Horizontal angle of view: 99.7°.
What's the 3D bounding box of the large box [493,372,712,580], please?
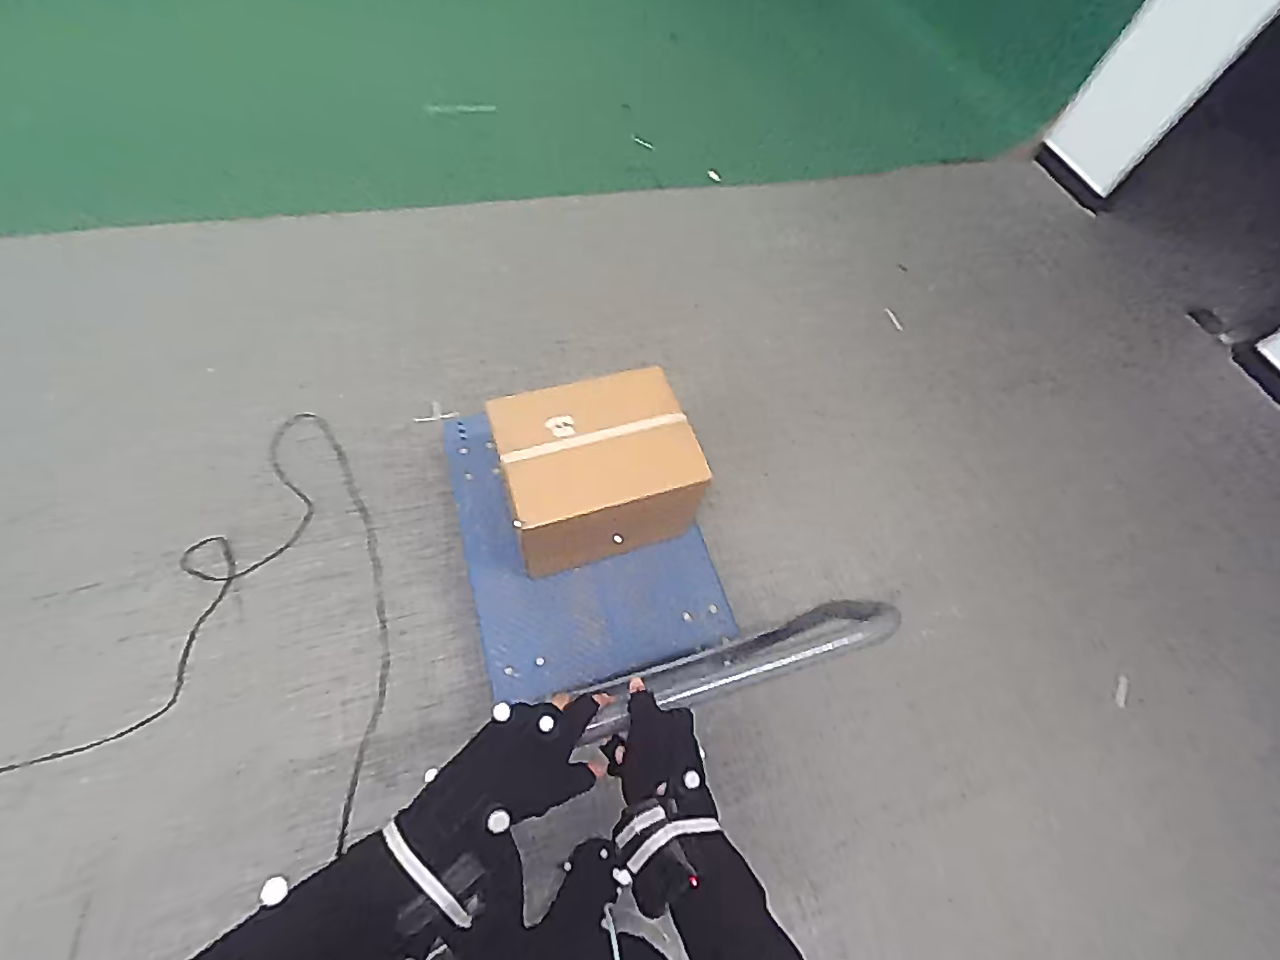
[{"bbox_3d":[-0.097,-0.004,1.273,0.408,0.320,0.320,-15,64,-15],"label":"large box"}]
